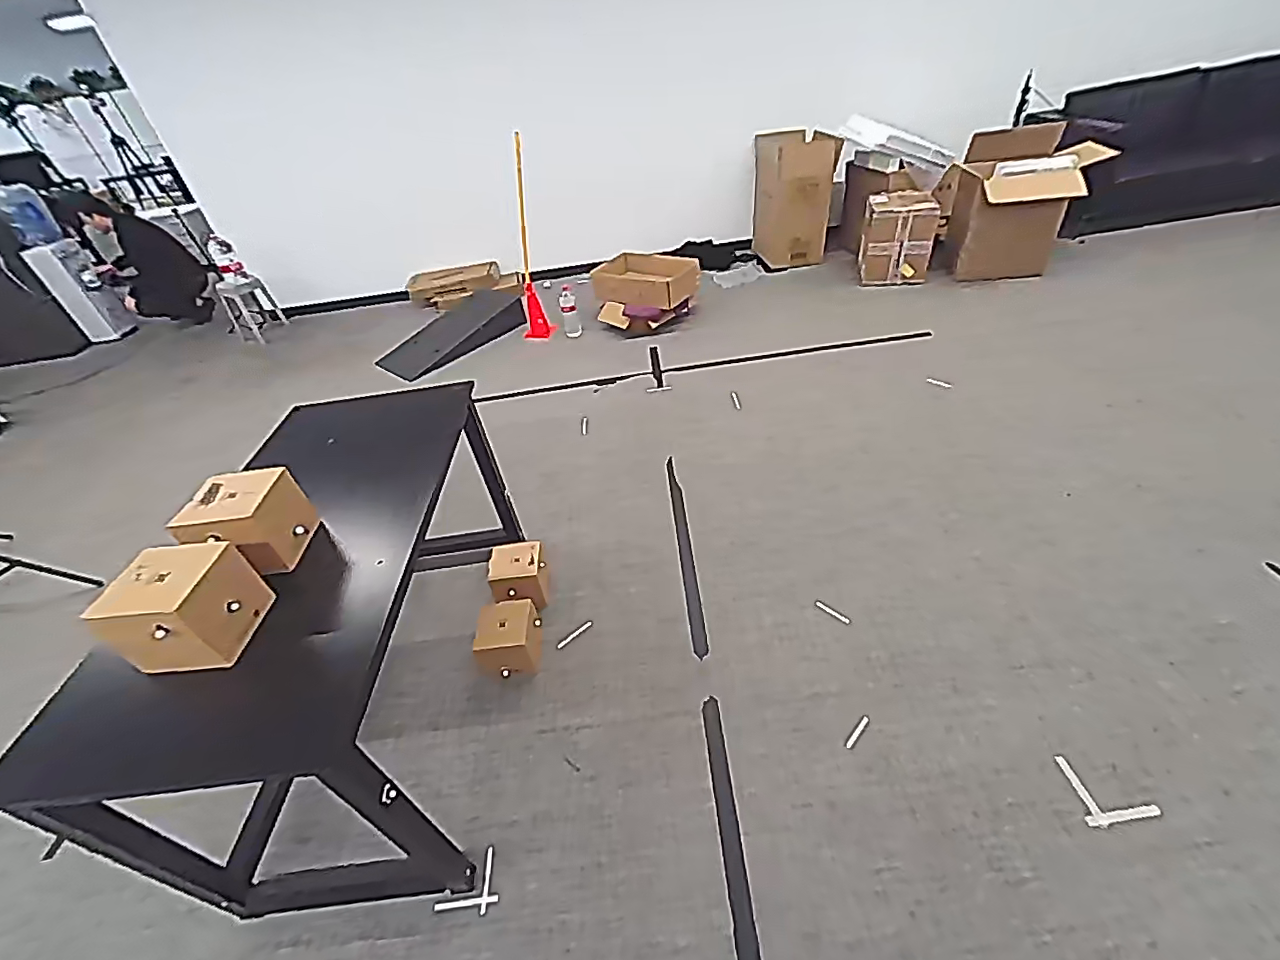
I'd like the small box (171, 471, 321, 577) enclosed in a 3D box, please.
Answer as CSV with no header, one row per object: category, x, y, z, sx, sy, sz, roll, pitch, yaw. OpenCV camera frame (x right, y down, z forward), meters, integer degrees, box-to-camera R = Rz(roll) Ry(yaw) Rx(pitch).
small box,-0.853,0.104,1.192,0.179,0.176,0.168,-8,39,1

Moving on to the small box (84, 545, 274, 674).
small box,-0.845,0.245,1.017,0.179,0.176,0.168,-6,38,4

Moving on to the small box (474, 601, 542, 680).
small box,-0.420,0.523,1.756,0.168,0.176,0.179,-9,40,2

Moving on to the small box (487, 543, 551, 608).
small box,-0.432,0.356,1.958,0.179,0.176,0.168,-9,40,1
